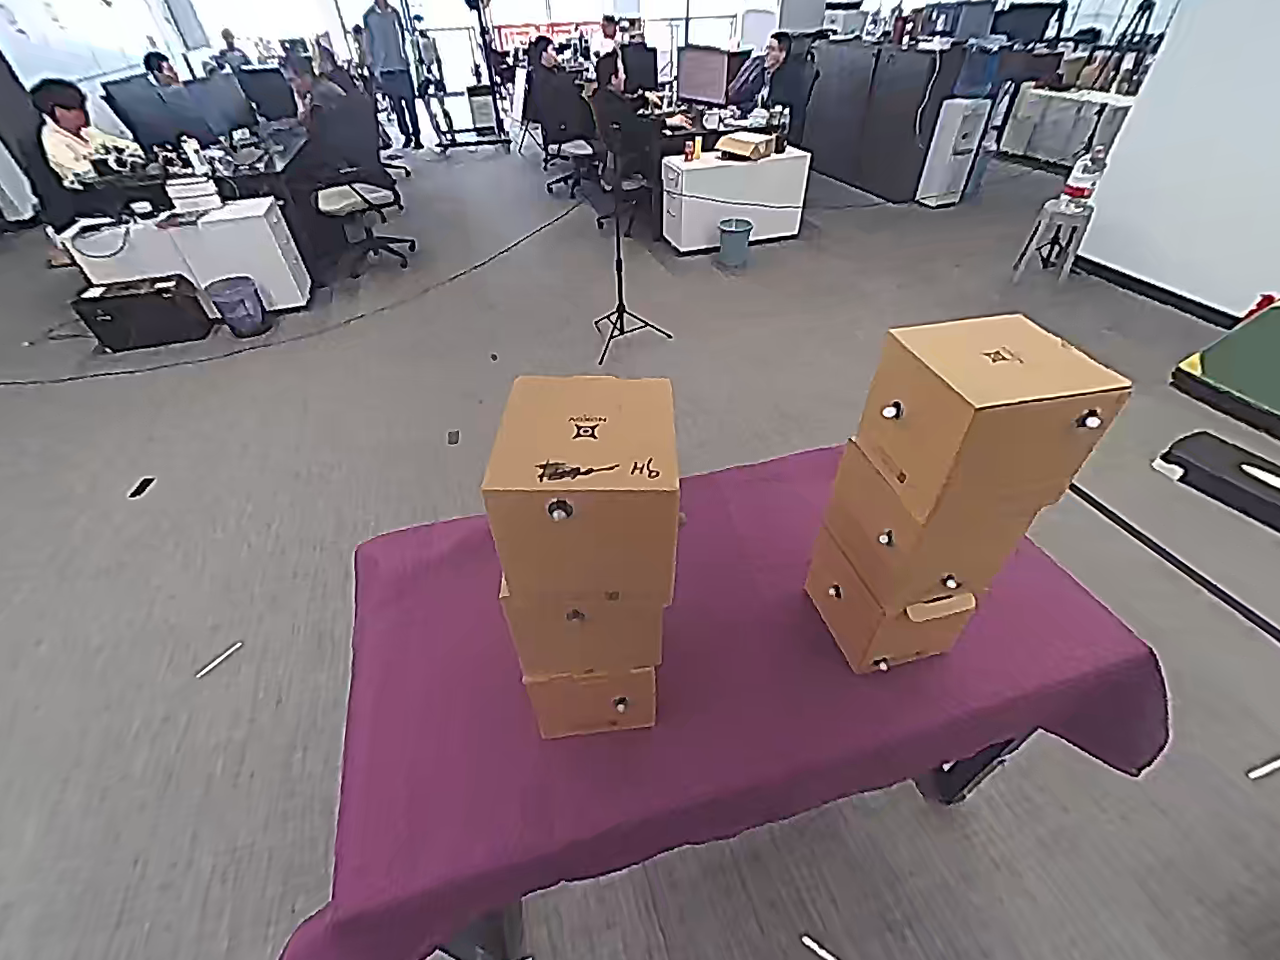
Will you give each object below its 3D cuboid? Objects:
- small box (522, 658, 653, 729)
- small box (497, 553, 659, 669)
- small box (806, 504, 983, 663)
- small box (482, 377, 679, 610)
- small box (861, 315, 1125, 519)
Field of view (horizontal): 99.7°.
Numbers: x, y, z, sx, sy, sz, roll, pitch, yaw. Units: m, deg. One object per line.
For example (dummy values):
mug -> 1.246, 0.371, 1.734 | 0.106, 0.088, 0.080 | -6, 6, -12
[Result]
small box -> -0.070, 0.245, 0.787 | 0.168, 0.176, 0.179 | -4, 42, -4
small box -> -0.068, 0.121, 0.679 | 0.179, 0.176, 0.168 | -3, 43, -3
small box -> 0.383, 0.167, 0.852 | 0.168, 0.176, 0.179 | -11, 42, -9
small box -> -0.049, 0.011, 0.557 | 0.168, 0.176, 0.179 | 0, 42, 0
small box -> 0.382, -0.072, 0.631 | 0.179, 0.176, 0.168 | -8, 43, -8
